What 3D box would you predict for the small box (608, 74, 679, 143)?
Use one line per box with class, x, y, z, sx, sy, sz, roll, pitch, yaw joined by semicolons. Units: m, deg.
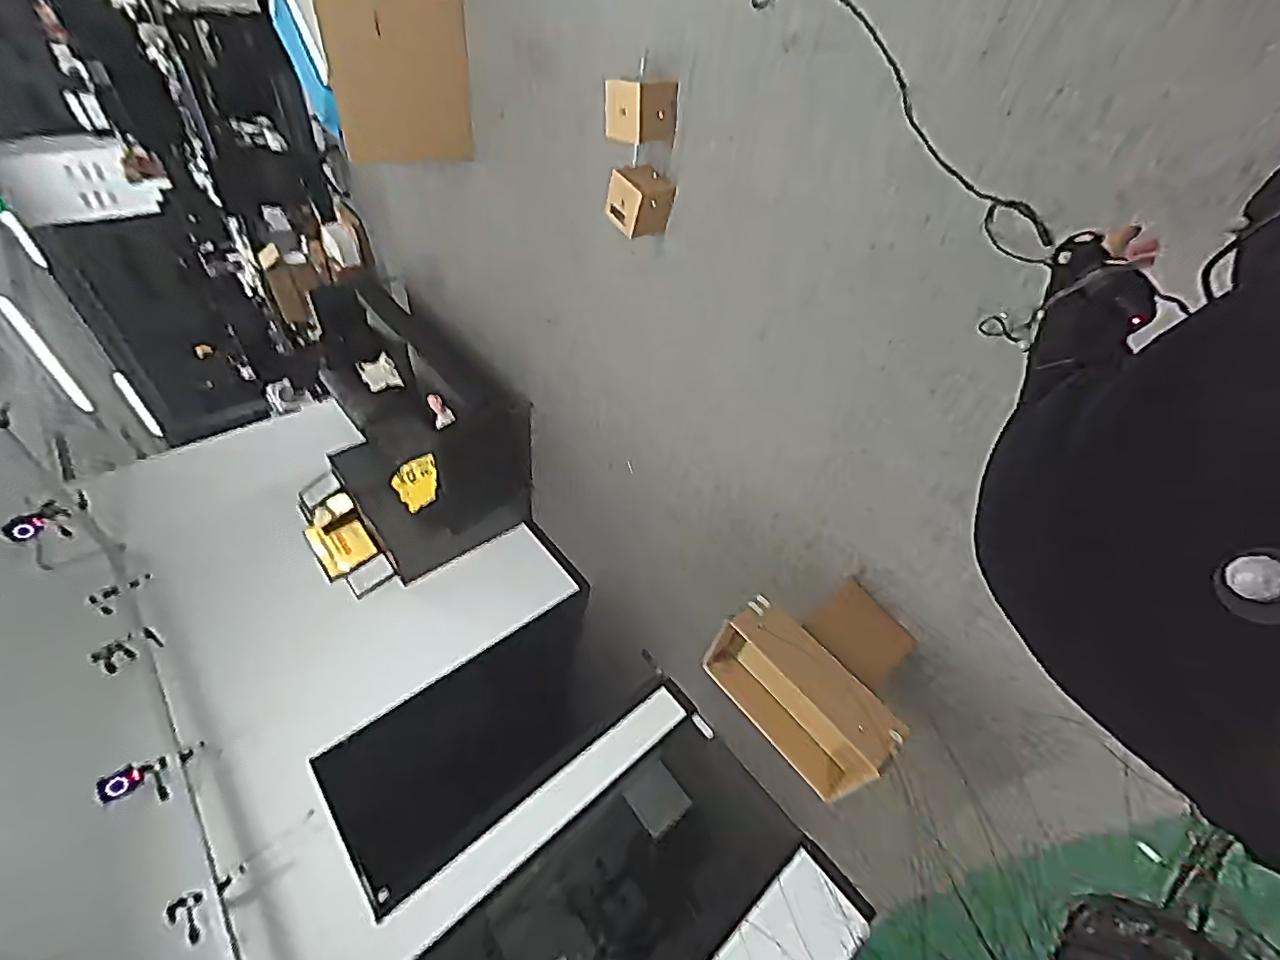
small box;0.012;-1.243;1.802;0.179;0.176;0.168;39;143;34
